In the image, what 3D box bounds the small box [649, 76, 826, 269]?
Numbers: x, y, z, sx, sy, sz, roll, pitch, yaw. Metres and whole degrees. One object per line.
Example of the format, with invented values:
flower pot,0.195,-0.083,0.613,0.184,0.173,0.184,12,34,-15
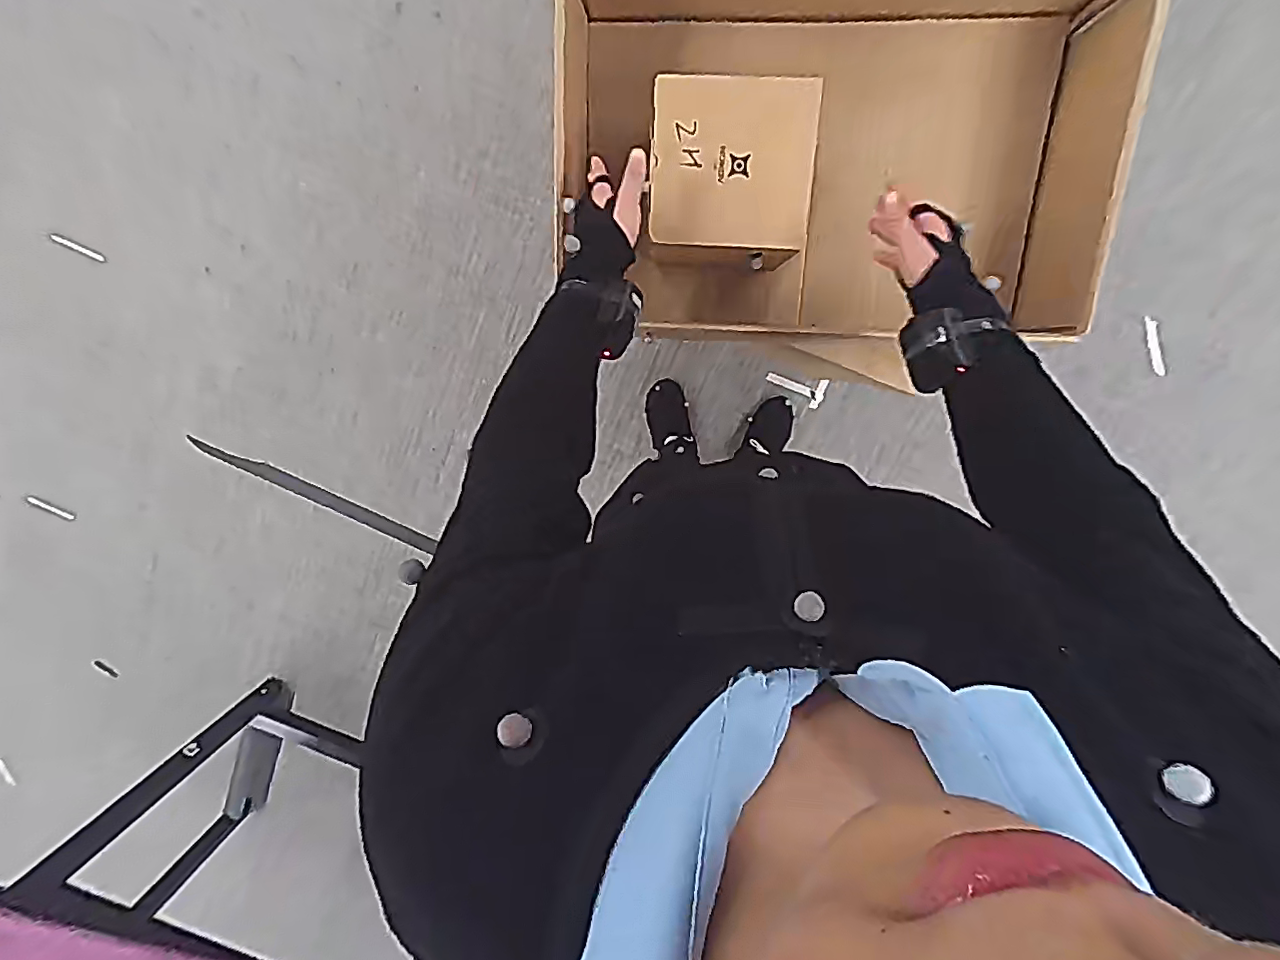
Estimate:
small box,0.107,-0.357,0.657,0.179,0.176,0.168,4,104,4
